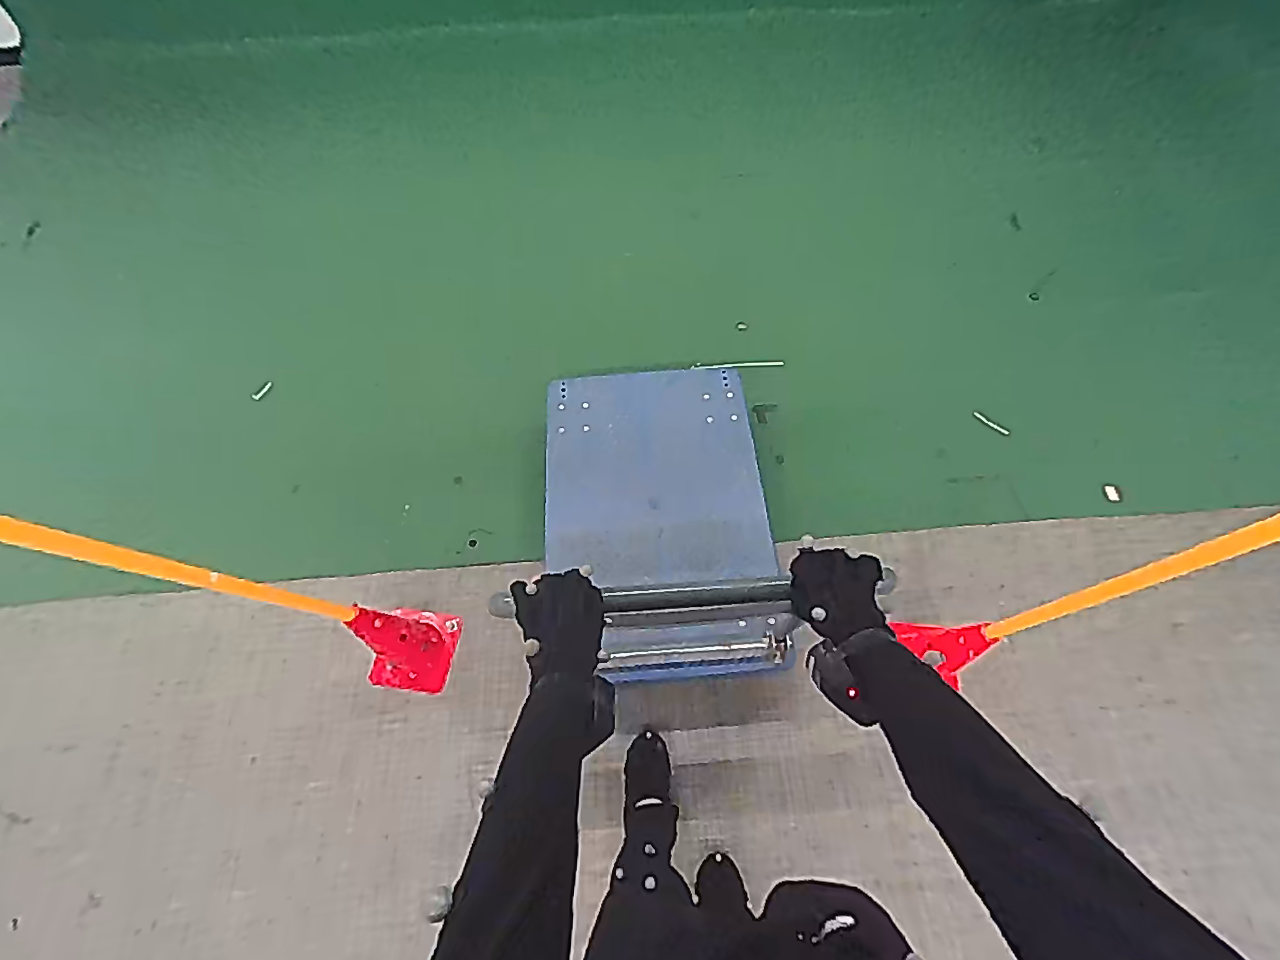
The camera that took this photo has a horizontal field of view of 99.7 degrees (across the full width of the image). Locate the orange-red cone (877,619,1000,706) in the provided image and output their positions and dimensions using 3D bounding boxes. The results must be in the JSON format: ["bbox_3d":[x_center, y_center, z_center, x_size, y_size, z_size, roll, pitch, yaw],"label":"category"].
[{"bbox_3d":[0.698,0.381,1.219,0.198,0.360,0.199,5,63,5],"label":"orange-red cone"}]
